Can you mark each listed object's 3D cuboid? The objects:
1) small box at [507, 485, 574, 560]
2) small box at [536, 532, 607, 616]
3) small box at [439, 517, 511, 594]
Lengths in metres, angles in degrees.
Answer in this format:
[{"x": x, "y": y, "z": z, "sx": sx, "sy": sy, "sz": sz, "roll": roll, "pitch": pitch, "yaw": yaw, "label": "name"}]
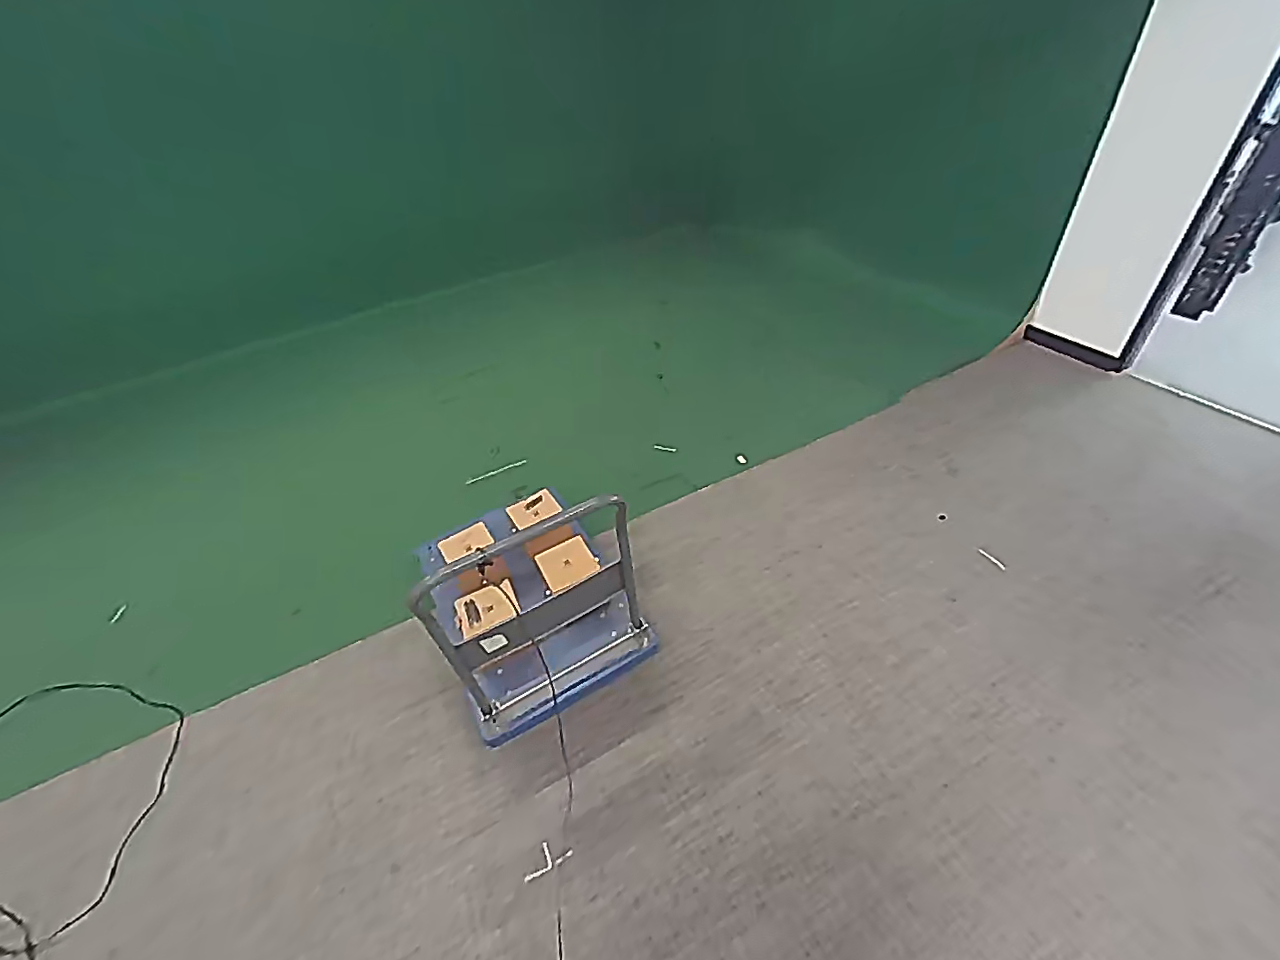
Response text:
[{"x": -0.353, "y": 0.155, "z": 1.941, "sx": 0.168, "sy": 0.176, "sz": 0.179, "roll": -28, "pitch": 47, "yaw": -19, "label": "small box"}, {"x": -0.222, "y": 0.307, "z": 1.760, "sx": 0.168, "sy": 0.176, "sz": 0.179, "roll": -24, "pitch": 46, "yaw": -16, "label": "small box"}, {"x": -0.562, "y": 0.267, "z": 1.856, "sx": 0.168, "sy": 0.176, "sz": 0.179, "roll": -27, "pitch": 46, "yaw": -20, "label": "small box"}]
